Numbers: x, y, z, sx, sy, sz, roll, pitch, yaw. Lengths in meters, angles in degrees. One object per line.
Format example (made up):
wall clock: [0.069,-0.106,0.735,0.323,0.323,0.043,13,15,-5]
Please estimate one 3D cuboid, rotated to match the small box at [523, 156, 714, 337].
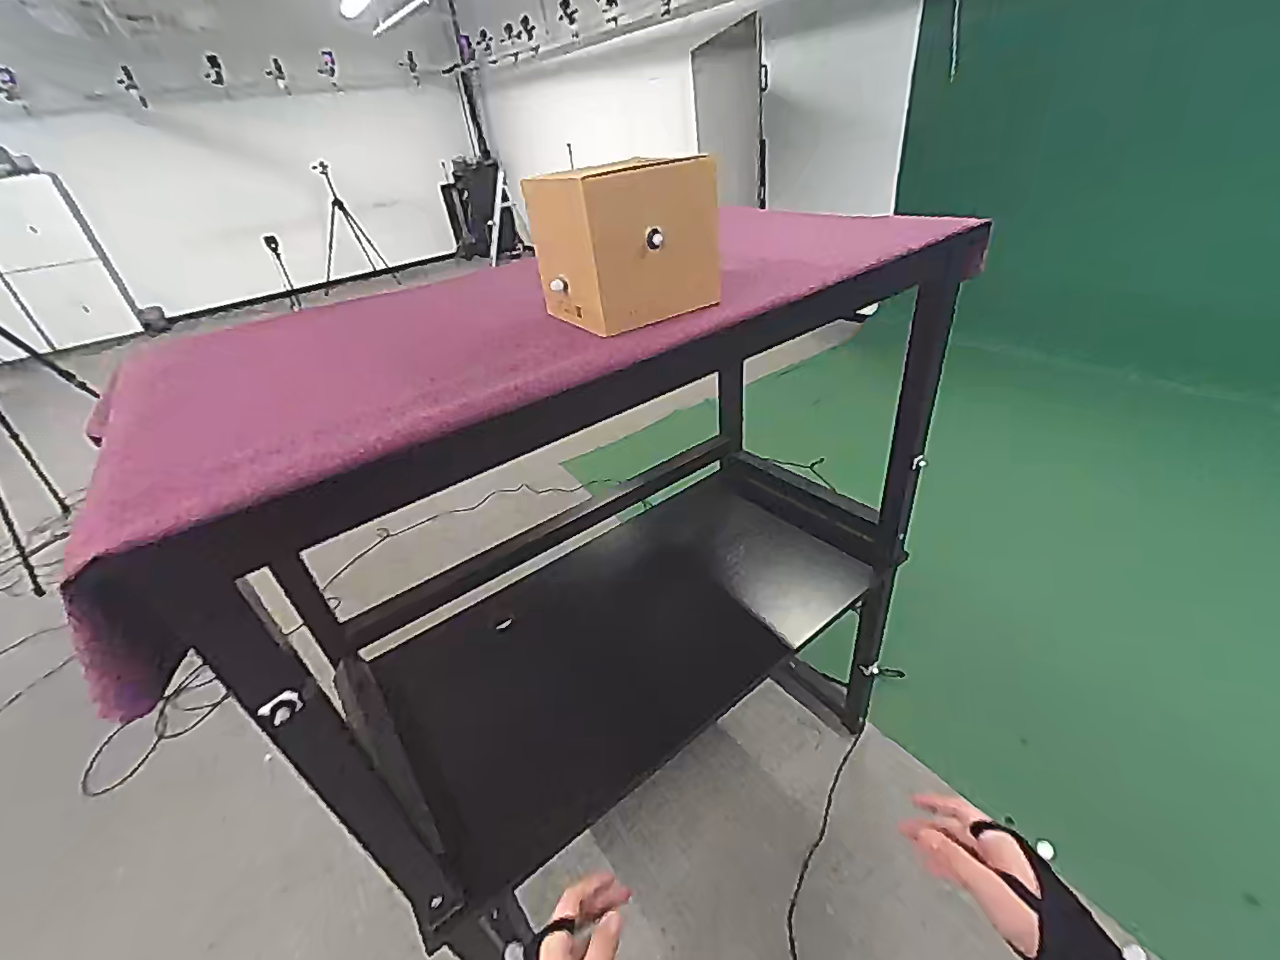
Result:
small box: [-0.022,-0.297,0.680,0.179,0.176,0.168,-25,36,-22]
